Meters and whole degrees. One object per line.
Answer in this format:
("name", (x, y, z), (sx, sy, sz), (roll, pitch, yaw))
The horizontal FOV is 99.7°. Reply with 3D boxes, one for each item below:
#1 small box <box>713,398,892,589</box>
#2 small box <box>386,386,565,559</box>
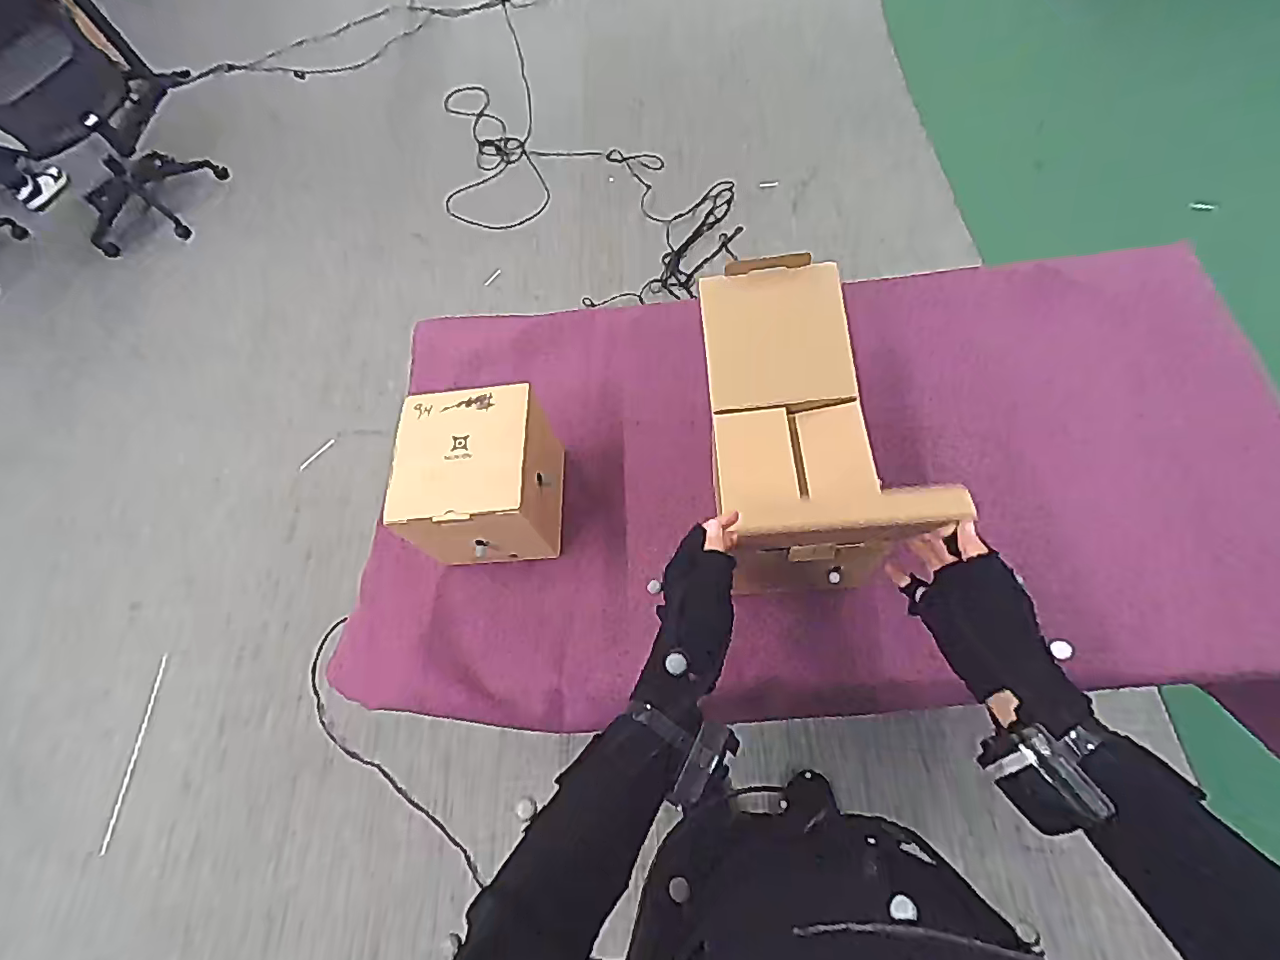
("small box", (0.177, 0.027, 0.642), (0.168, 0.176, 0.179), (-5, 63, 6))
("small box", (-0.201, 0.001, 0.713), (0.168, 0.176, 0.179), (-5, 64, 6))
